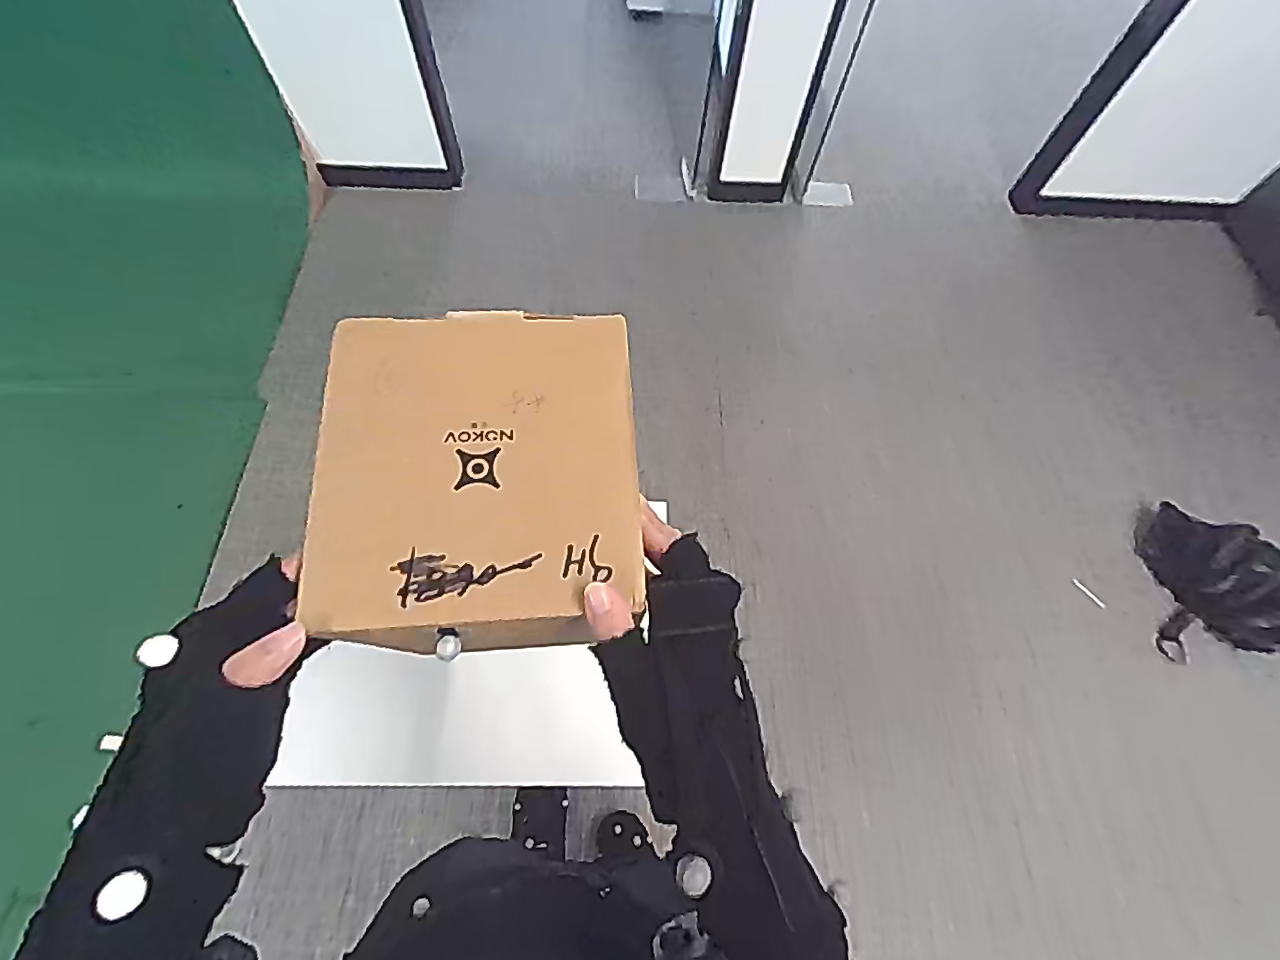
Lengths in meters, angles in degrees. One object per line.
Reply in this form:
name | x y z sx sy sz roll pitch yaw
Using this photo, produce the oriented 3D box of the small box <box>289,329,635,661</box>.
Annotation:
small box | -0.094 0.021 0.364 0.168 0.176 0.179 -3 69 -4
